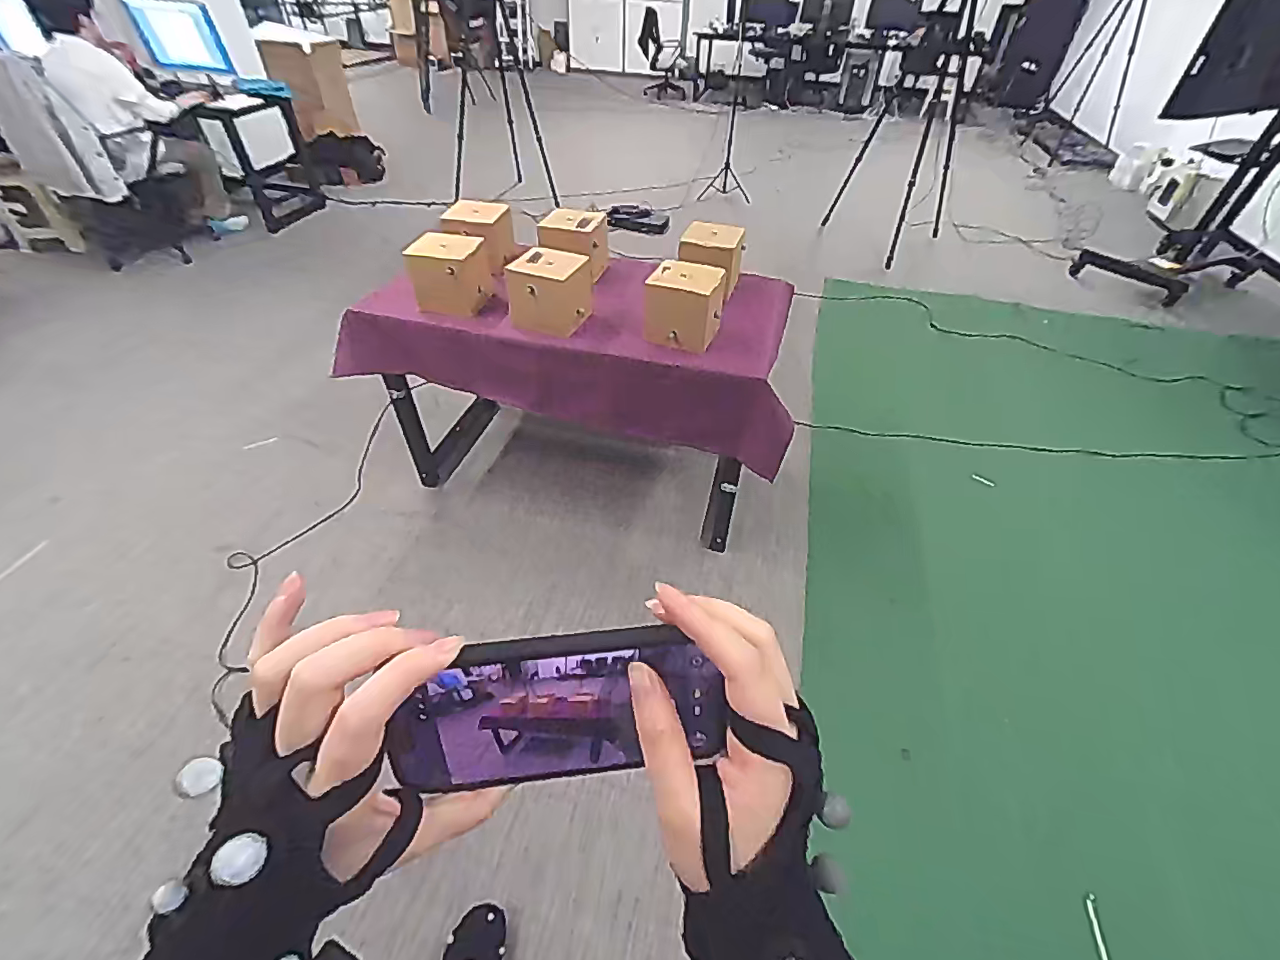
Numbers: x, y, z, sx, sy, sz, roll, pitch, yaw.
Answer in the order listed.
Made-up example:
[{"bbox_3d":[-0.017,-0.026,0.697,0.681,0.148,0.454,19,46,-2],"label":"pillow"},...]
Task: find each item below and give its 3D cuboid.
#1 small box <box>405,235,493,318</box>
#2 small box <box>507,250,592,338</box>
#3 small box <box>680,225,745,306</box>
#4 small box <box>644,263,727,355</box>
[{"bbox_3d":[-0.543,-0.587,1.563,0.179,0.176,0.168,9,44,4],"label":"small box"},{"bbox_3d":[-0.245,-0.513,1.500,0.179,0.176,0.168,17,46,13],"label":"small box"},{"bbox_3d":[0.218,-0.665,1.678,0.168,0.176,0.179,14,46,12],"label":"small box"},{"bbox_3d":[0.120,-0.460,1.462,0.179,0.176,0.168,17,46,14],"label":"small box"}]
